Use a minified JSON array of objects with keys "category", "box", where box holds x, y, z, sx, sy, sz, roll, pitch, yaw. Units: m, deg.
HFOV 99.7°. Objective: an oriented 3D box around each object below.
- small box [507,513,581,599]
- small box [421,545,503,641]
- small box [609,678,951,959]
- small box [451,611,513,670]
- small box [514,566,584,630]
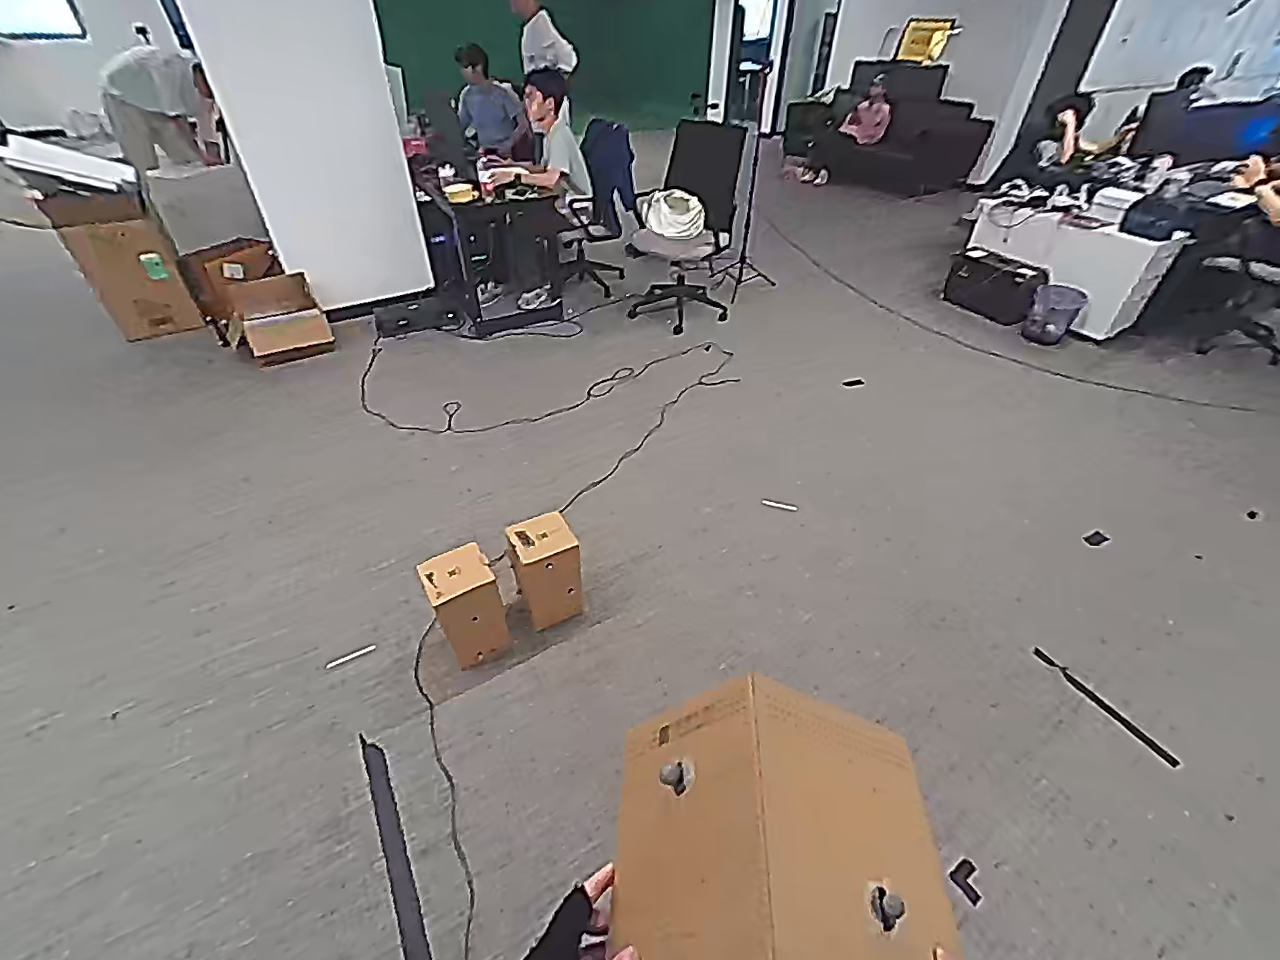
[{"category":"small box","box":[-0.290,0.234,1.656,0.179,0.176,0.168,-19,45,-24]},{"category":"small box","box":[-0.503,0.323,1.550,0.179,0.176,0.168,-22,45,-24]},{"category":"small box","box":[0.099,0.275,0.415,0.179,0.168,0.176,29,40,-21]},{"category":"small box","box":[-0.505,0.444,1.661,0.168,0.176,0.179,-22,46,-23]},{"category":"small box","box":[-0.294,0.358,1.765,0.179,0.176,0.168,-19,44,-23]}]
